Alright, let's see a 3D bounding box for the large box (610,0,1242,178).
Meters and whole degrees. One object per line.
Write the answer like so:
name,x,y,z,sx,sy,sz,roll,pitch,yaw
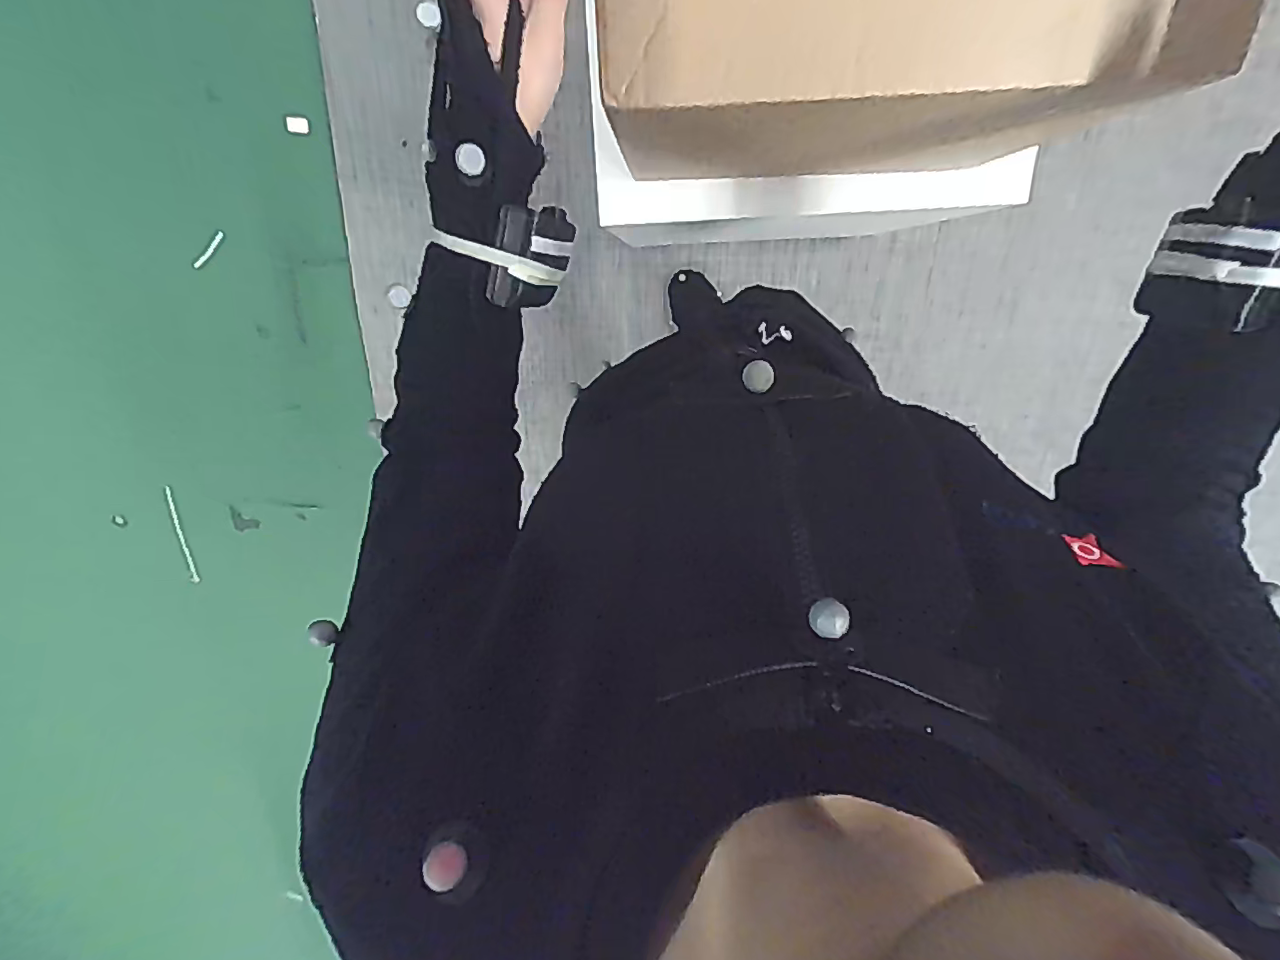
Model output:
large box,0.177,-0.459,0.445,0.408,0.320,0.320,-1,111,3
